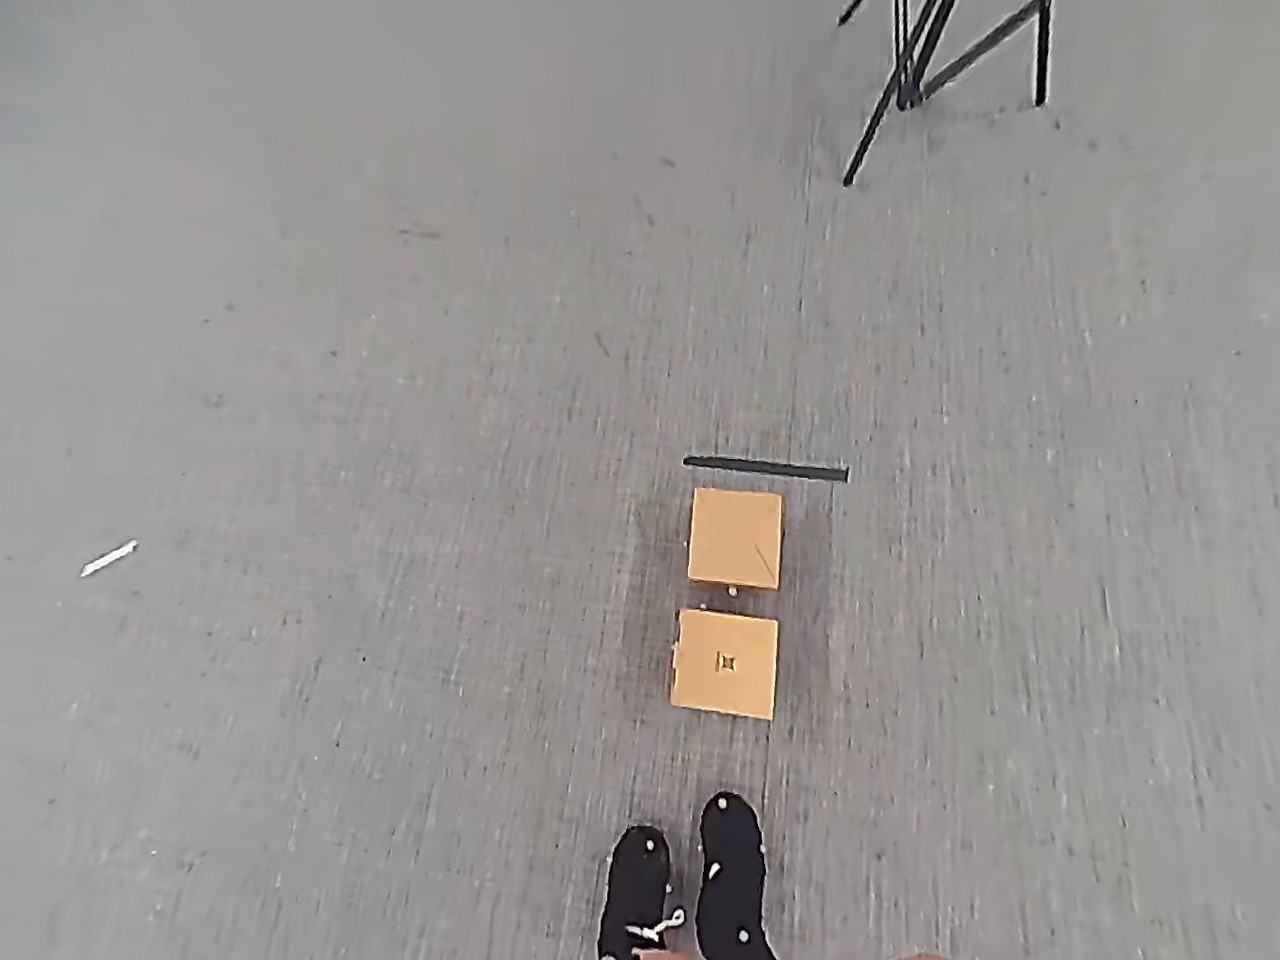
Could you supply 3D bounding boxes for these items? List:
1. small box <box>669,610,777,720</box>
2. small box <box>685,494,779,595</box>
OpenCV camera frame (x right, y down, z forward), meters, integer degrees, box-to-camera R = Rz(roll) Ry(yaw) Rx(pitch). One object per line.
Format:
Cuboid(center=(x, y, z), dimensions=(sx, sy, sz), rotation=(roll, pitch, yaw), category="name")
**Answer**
Cuboid(center=(0.153, 0.346, 1.029), dimensions=(0.179, 0.176, 0.168), rotation=(6, 74, 6), category="small box")
Cuboid(center=(0.181, 0.131, 1.087), dimensions=(0.168, 0.176, 0.179), rotation=(5, 73, 6), category="small box")
